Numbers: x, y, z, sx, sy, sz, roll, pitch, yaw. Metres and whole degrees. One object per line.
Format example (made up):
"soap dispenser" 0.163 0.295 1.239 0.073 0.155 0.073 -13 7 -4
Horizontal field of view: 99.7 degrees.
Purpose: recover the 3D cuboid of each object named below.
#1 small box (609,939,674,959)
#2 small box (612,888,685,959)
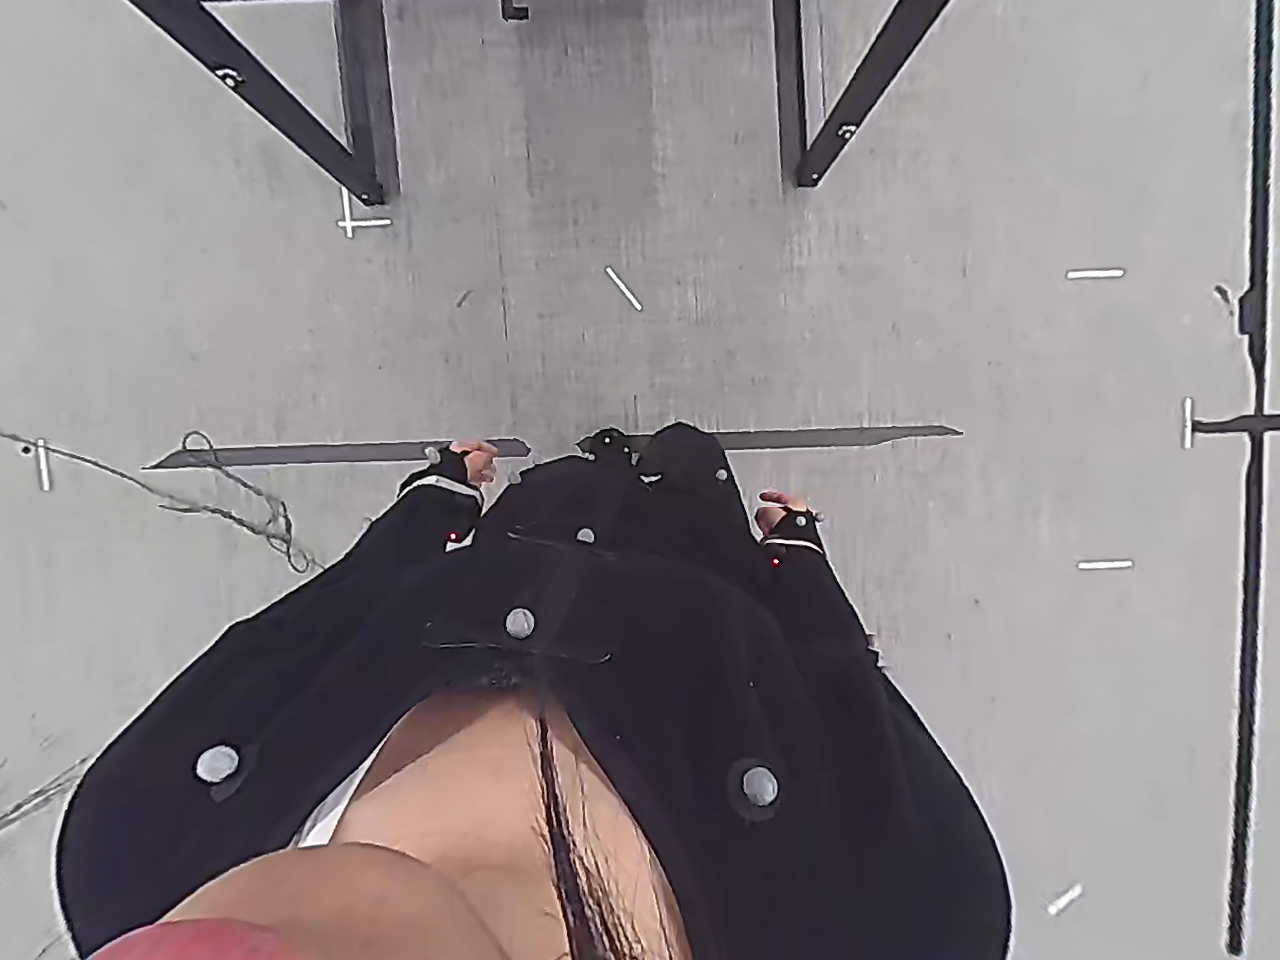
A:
"small box" 0.021 1.293 1.325 0.168 0.176 0.179 -16 95 -2
"small box" 0.023 1.273 1.489 0.168 0.176 0.179 -17 94 0
